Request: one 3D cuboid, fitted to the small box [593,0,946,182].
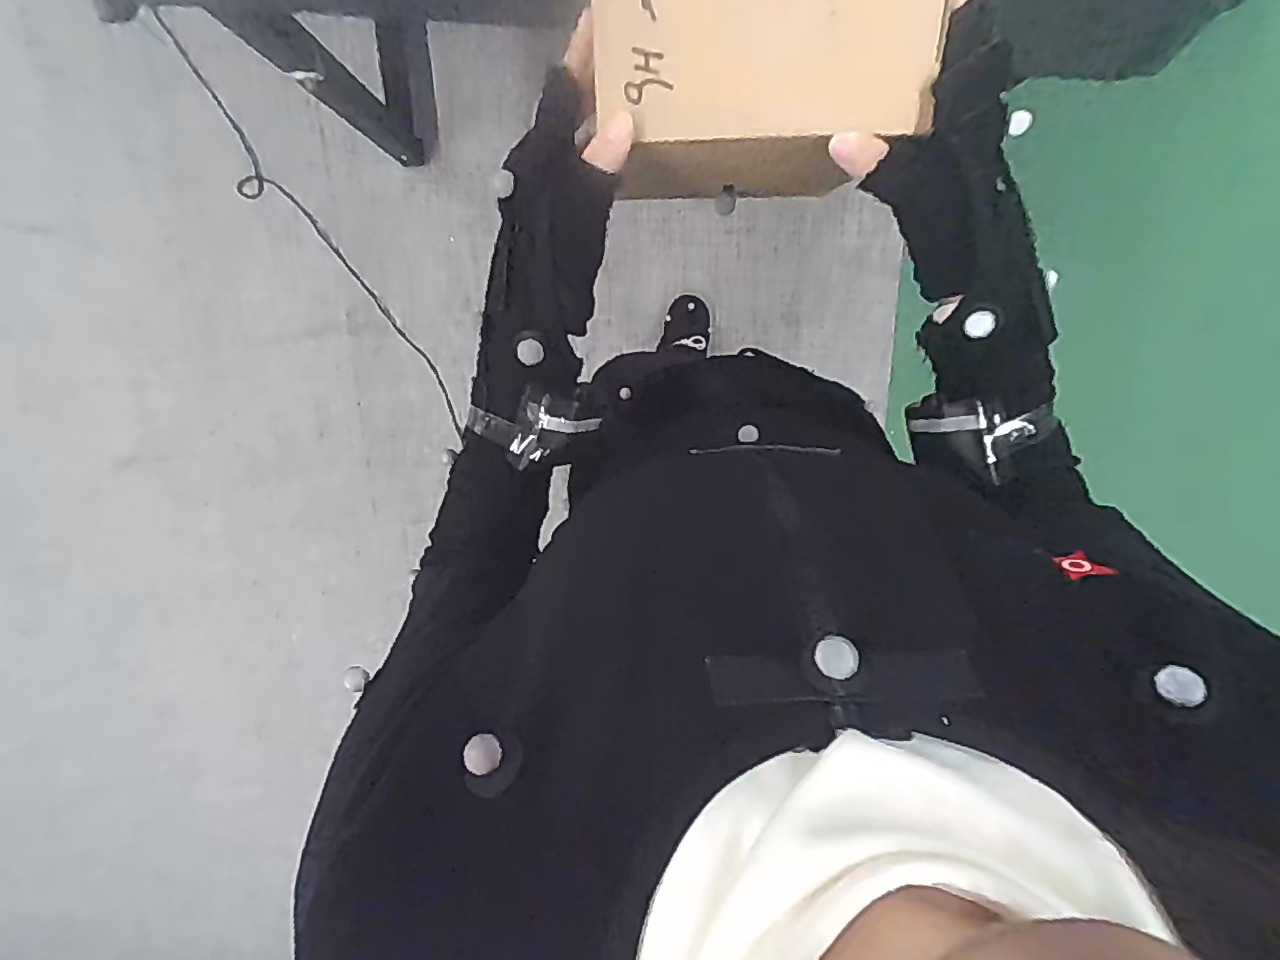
[{"bbox_3d":[0.060,-0.291,0.328,0.179,0.176,0.168,-2,108,-2],"label":"small box"}]
